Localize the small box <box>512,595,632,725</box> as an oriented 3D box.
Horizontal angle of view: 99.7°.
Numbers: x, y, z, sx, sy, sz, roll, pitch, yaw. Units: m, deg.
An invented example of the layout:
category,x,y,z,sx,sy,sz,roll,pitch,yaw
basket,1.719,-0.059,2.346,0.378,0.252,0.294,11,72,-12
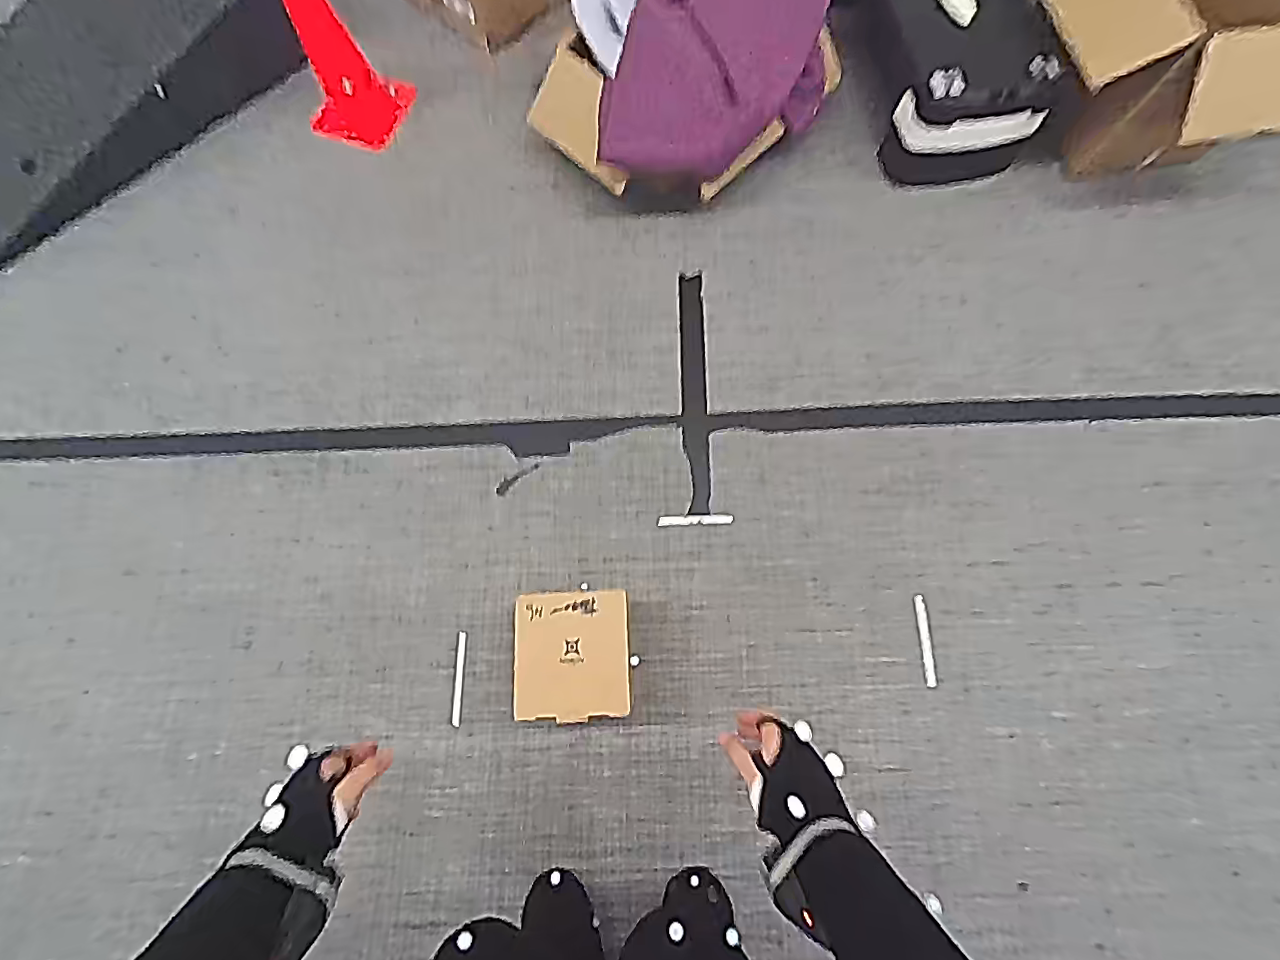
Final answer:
category,x,y,z,sx,sy,sz,roll,pitch,yaw
small box,-0.099,0.278,0.857,0.168,0.176,0.179,-3,74,0
